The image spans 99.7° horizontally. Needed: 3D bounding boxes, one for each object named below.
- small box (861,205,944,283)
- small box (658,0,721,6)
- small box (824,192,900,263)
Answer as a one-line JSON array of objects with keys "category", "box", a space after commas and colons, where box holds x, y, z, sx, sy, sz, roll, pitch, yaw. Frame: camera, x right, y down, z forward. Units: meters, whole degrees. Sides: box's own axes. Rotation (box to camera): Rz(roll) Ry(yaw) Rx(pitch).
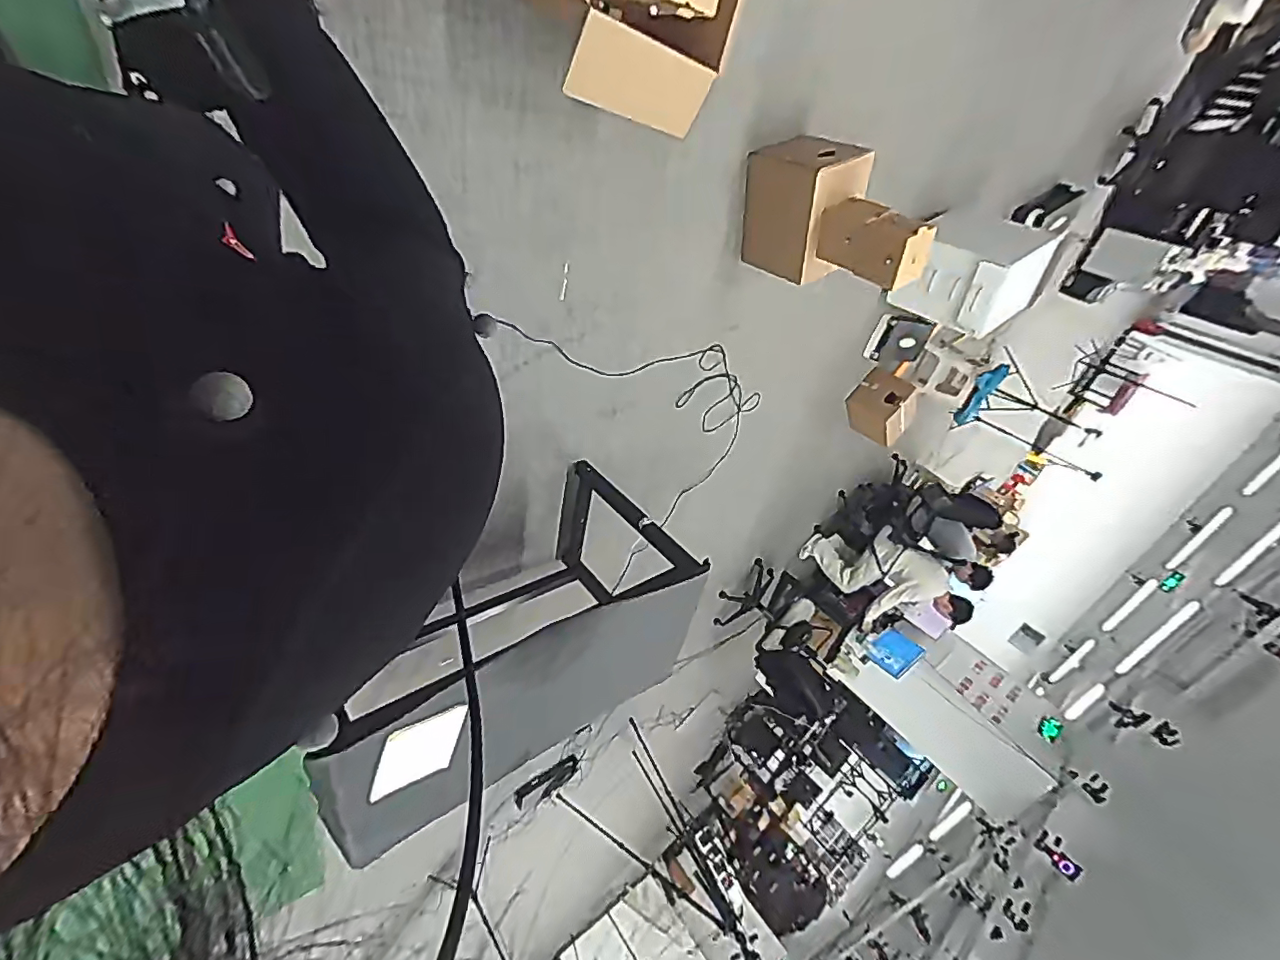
[{"category": "small box", "box": [0.874, -0.799, 1.821, 0.168, 0.176, 0.179, -30, 140, -23]}, {"category": "small box", "box": [0.077, -1.125, 1.128, 0.168, 0.176, 0.179, -16, 134, -35]}, {"category": "small box", "box": [0.775, -0.896, 1.906, 0.168, 0.176, 0.179, -30, 141, -23]}]
